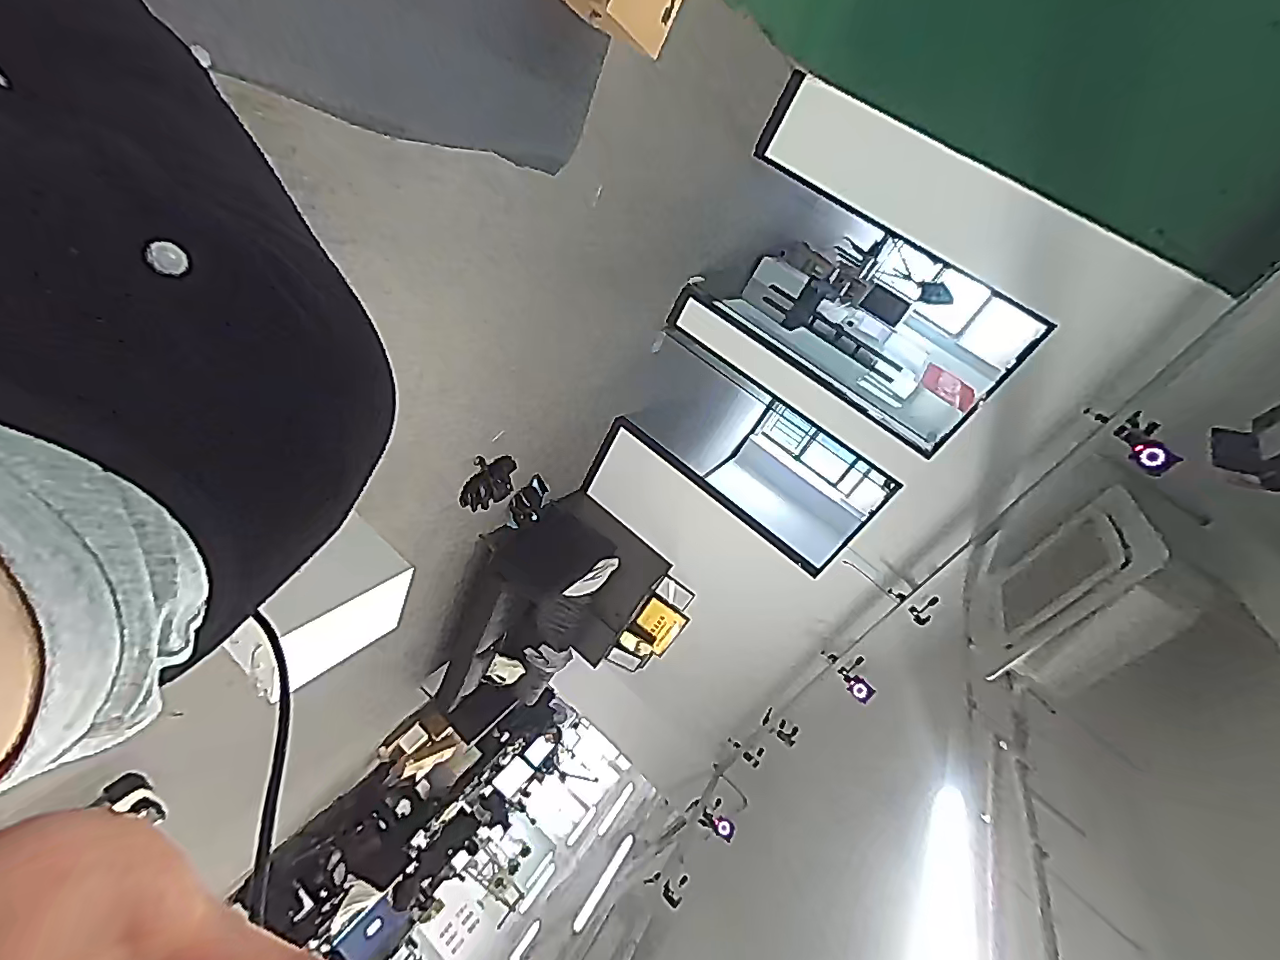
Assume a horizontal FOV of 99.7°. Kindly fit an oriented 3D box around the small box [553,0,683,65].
[{"bbox_3d":[-0.040,-0.801,0.839,0.179,0.176,0.168,-26,151,-59],"label":"small box"}]
